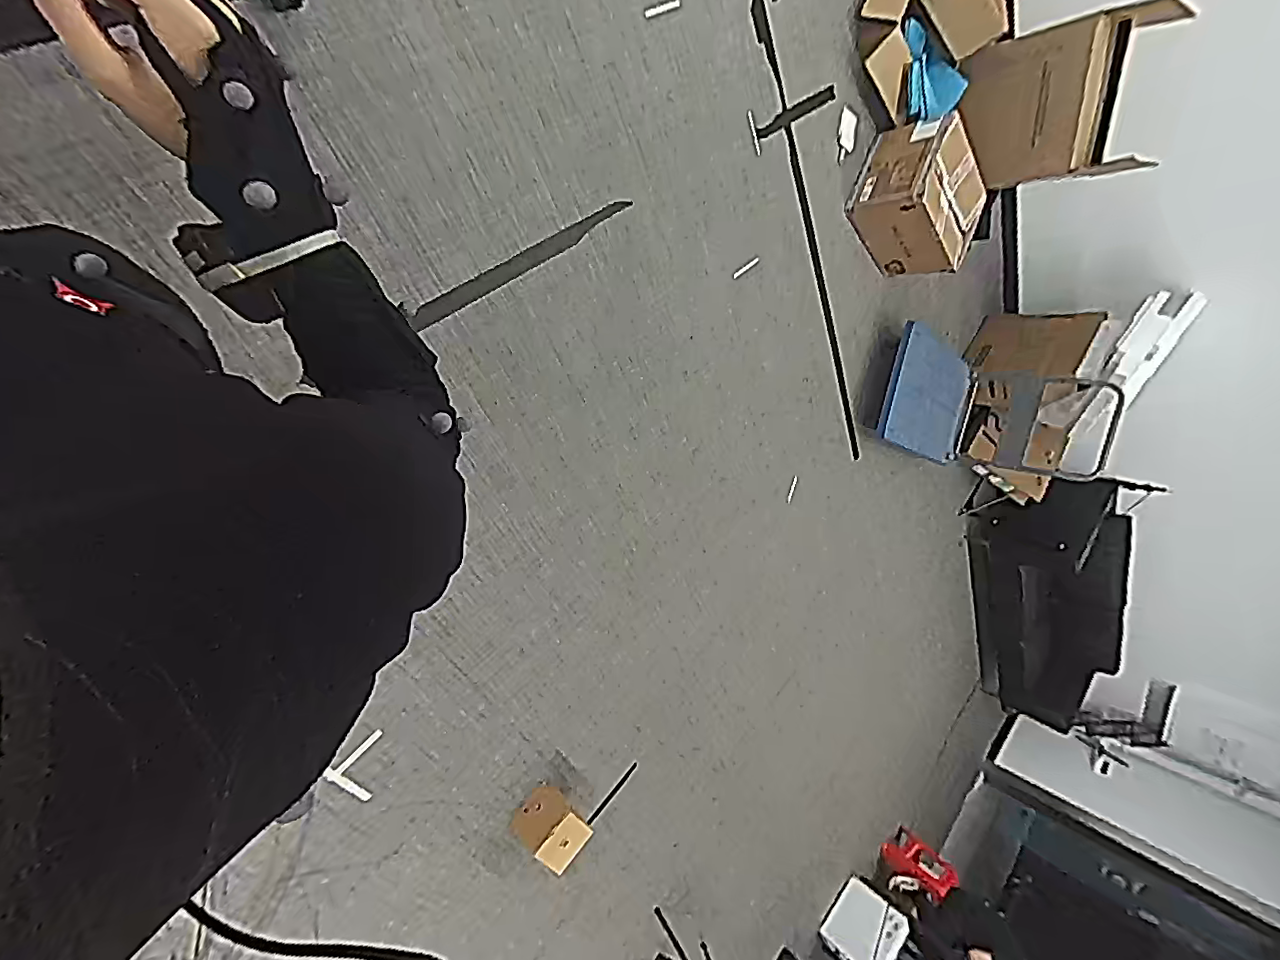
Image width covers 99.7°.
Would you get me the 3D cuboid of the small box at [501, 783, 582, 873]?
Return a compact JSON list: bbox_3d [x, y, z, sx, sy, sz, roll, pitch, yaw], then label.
[{"bbox_3d":[-0.336,1.176,1.839,0.168,0.176,0.179,-44,126,-23],"label":"small box"}]
